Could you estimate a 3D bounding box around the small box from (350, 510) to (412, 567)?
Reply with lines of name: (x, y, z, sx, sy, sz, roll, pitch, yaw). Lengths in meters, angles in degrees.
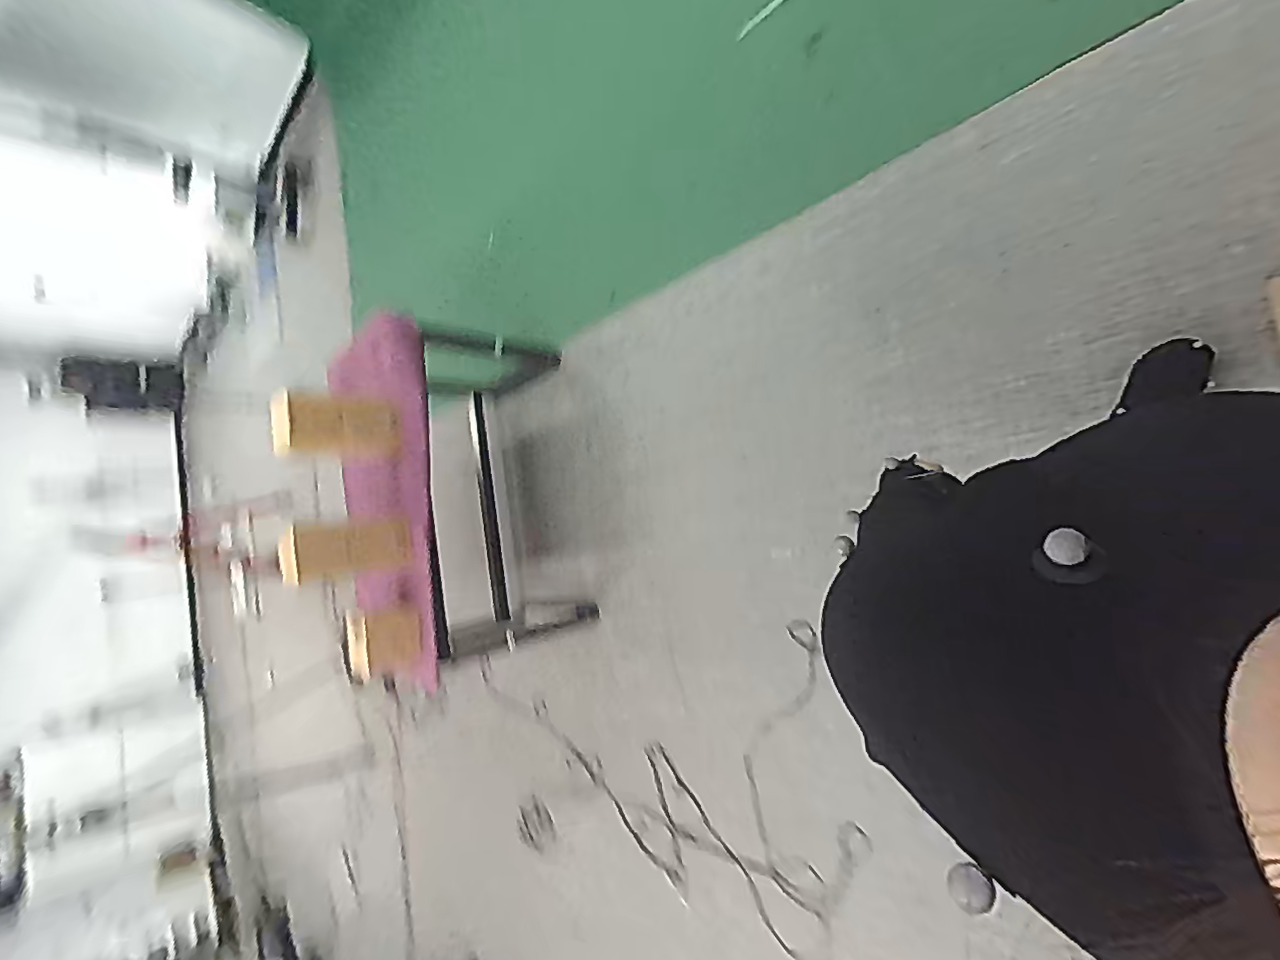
small box: (-0.871, 0.195, 1.779, 0.179, 0.176, 0.168, -15, 82, 43)

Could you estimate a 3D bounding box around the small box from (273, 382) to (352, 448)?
small box: (-1.016, -0.194, 1.679, 0.179, 0.176, 0.168, -13, 83, 42)

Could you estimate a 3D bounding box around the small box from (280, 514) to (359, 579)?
small box: (-0.980, 0.201, 1.657, 0.168, 0.176, 0.179, -16, 80, 43)
